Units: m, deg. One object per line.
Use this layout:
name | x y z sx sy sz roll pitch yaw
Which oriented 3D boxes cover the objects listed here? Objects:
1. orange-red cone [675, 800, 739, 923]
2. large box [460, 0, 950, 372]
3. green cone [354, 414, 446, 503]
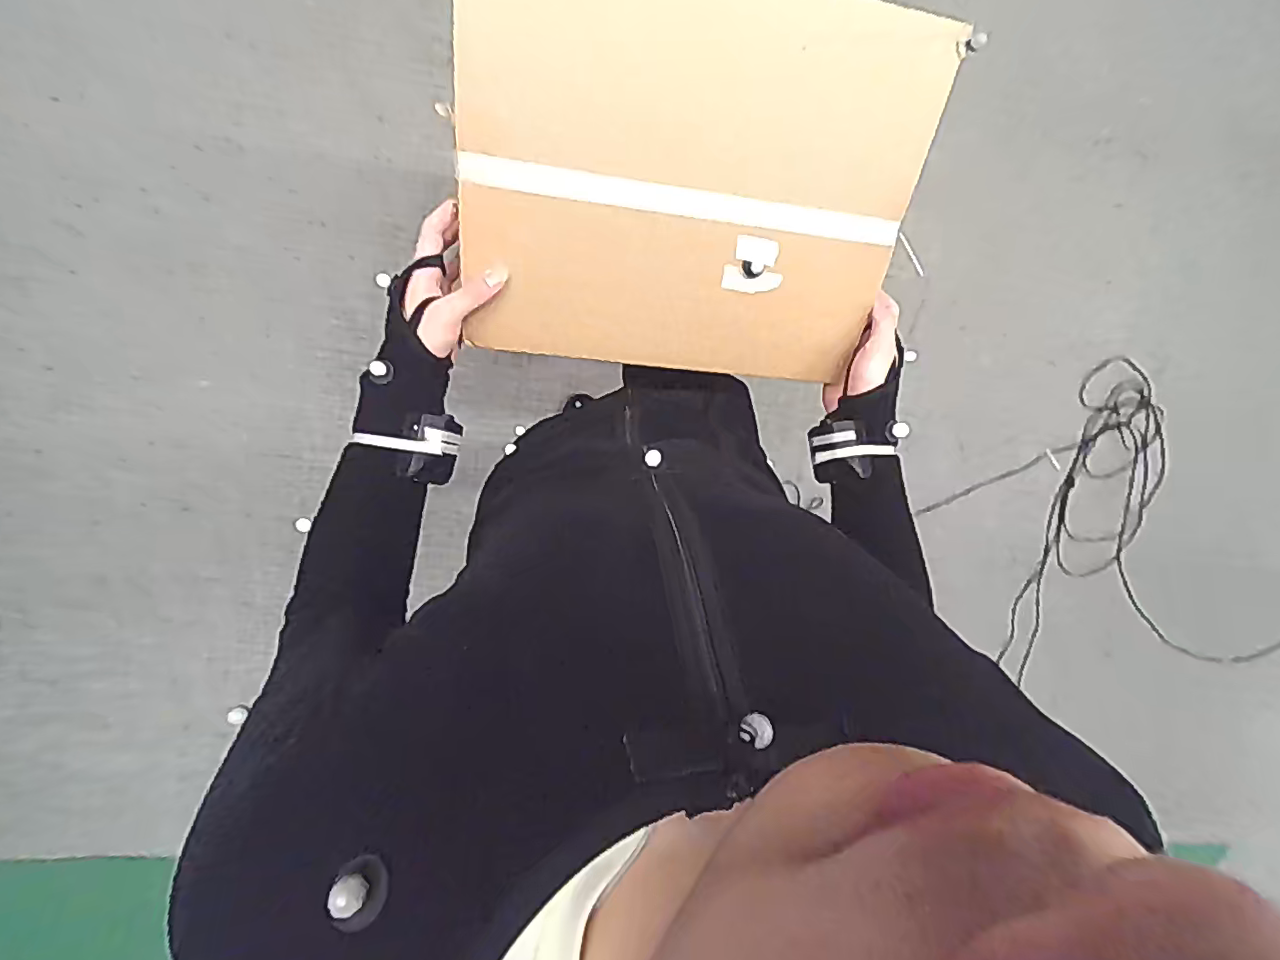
orange-red cone | 0.273 1.342 1.882 0.199 0.360 0.198 13 104 -13
large box | 0.025 -0.333 0.615 0.408 0.320 0.320 2 123 -12
green cone | -0.636 -0.025 1.358 0.200 0.368 0.202 11 105 -11
